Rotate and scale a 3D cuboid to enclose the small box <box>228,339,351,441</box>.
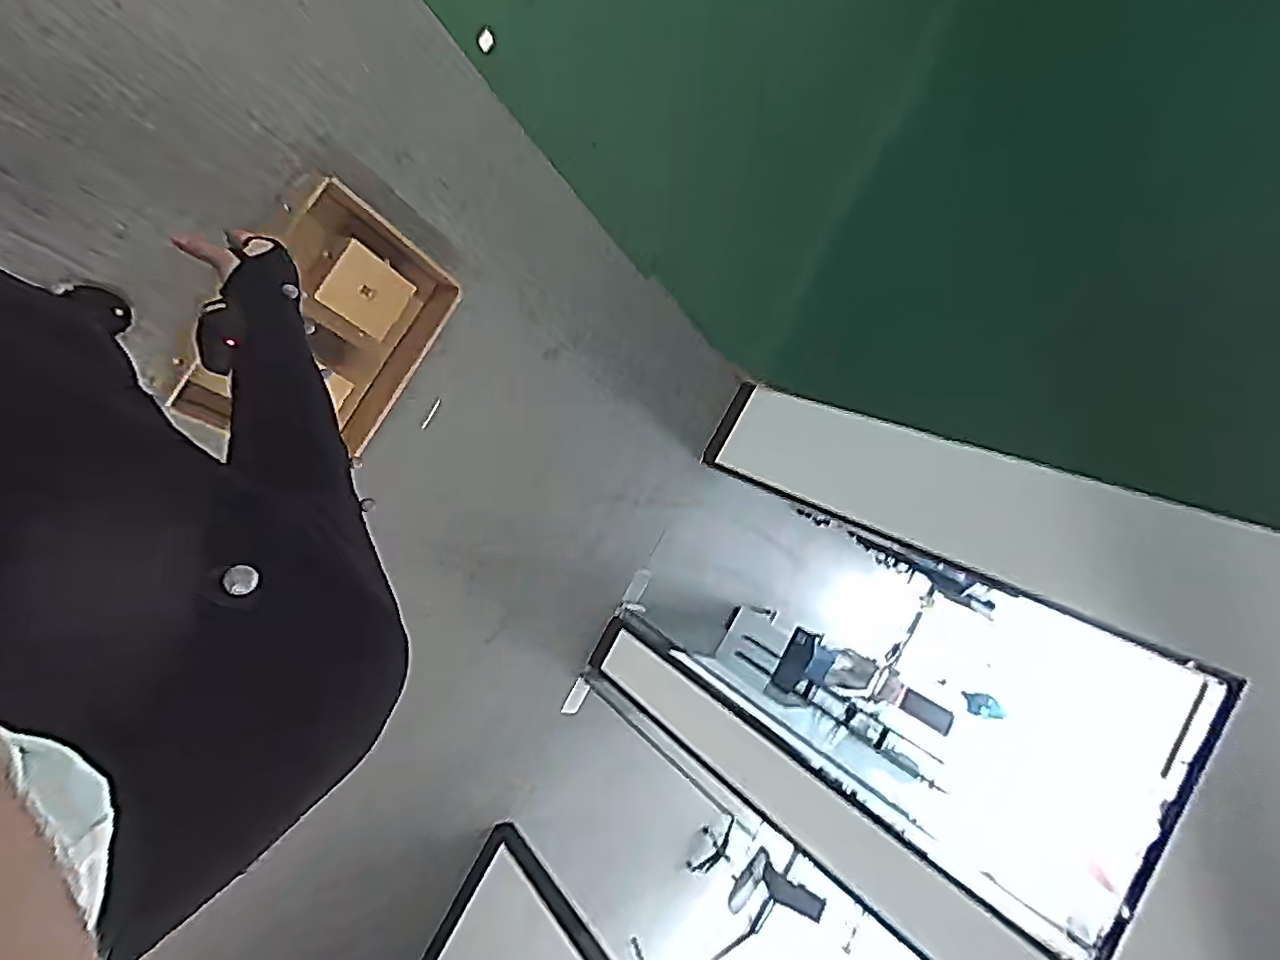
[{"bbox_3d":[-0.849,-0.222,1.304,0.168,0.176,0.179,-59,140,-6],"label":"small box"}]

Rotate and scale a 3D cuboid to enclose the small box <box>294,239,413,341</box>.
[{"bbox_3d":[-0.707,-0.469,1.329,0.168,0.176,0.179,-59,141,-5],"label":"small box"}]
